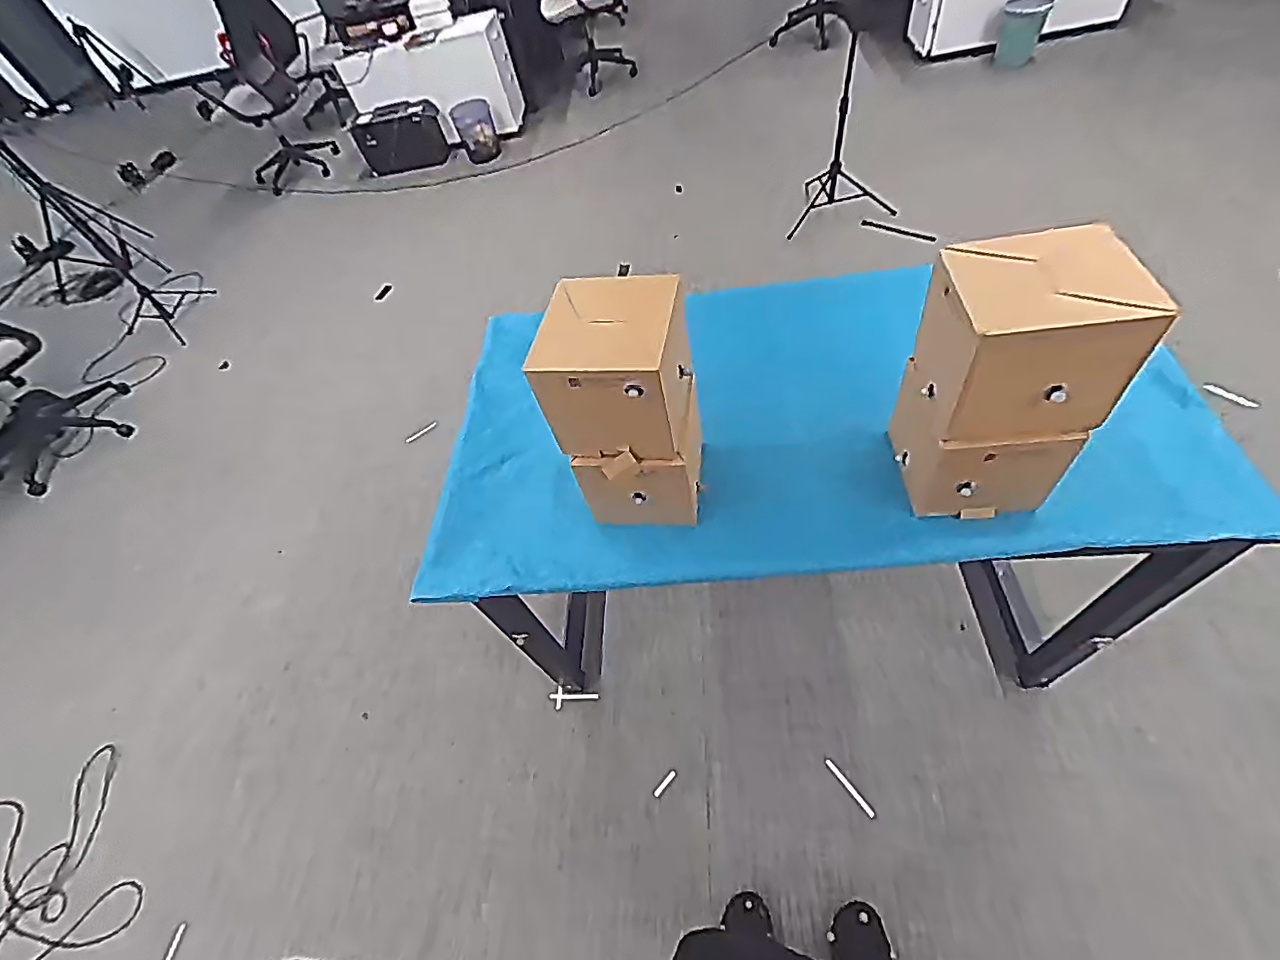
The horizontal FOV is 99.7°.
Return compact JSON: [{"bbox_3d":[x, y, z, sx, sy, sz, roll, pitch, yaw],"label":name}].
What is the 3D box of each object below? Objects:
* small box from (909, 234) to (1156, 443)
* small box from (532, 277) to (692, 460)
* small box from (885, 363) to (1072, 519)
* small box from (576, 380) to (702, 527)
[{"bbox_3d":[0.447,-0.168,0.646,0.179,0.176,0.168,-5,52,12],"label":"small box"},{"bbox_3d":[-0.028,-0.146,0.731,0.168,0.176,0.179,3,57,14],"label":"small box"},{"bbox_3d":[0.469,-0.066,0.773,0.168,0.176,0.179,-5,53,9],"label":"small box"},{"bbox_3d":[0.007,-0.042,0.854,0.168,0.176,0.179,0,55,11],"label":"small box"}]
